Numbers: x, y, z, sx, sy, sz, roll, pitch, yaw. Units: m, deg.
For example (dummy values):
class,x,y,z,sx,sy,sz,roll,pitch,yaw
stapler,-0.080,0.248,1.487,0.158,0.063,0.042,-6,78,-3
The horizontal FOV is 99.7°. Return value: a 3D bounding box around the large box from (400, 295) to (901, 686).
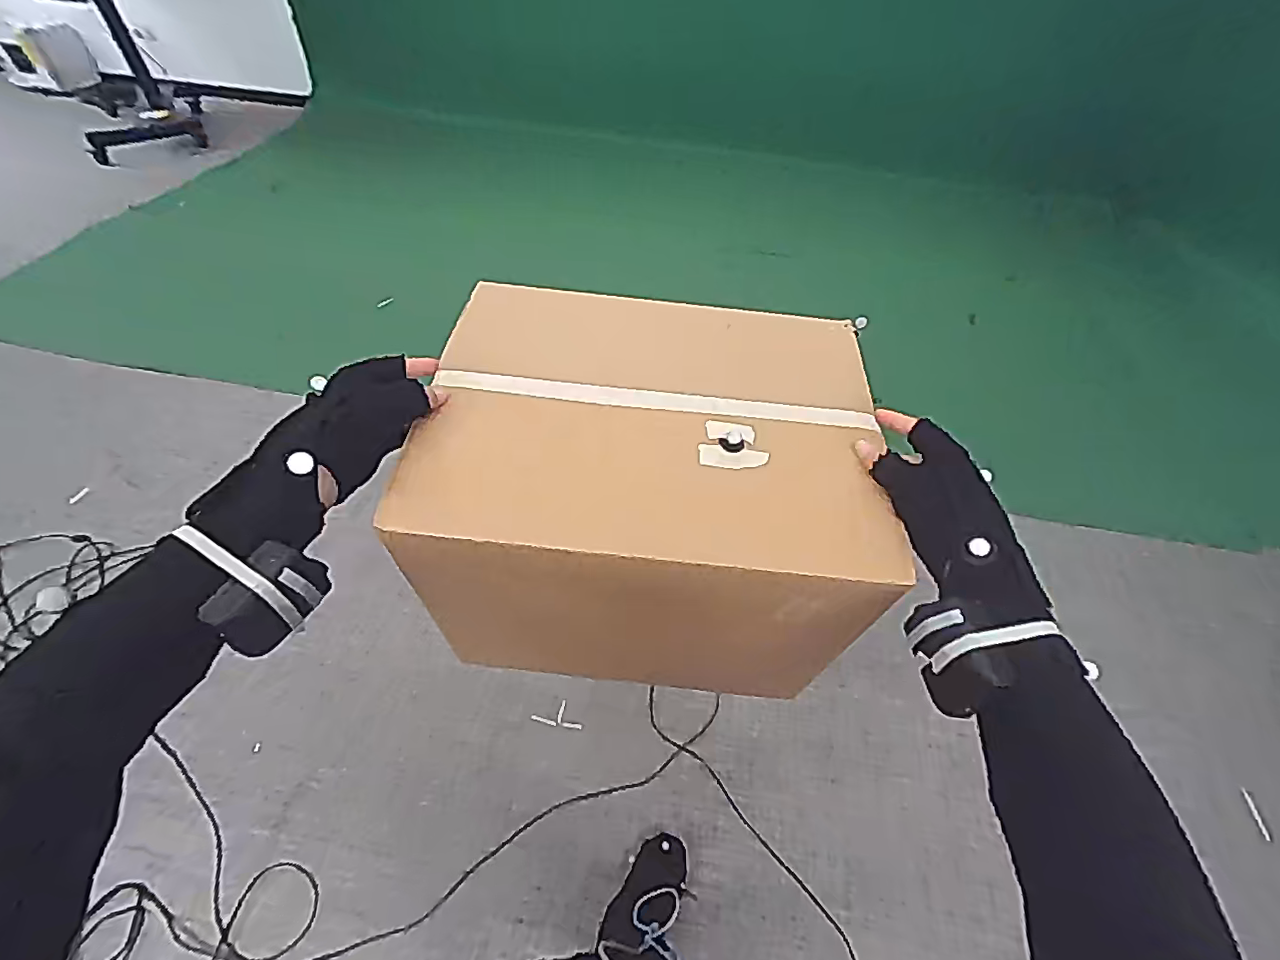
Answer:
class,x,y,z,sx,sy,sz,roll,pitch,yaw
large box,0.007,0.024,0.626,0.408,0.320,0.320,6,53,-1
